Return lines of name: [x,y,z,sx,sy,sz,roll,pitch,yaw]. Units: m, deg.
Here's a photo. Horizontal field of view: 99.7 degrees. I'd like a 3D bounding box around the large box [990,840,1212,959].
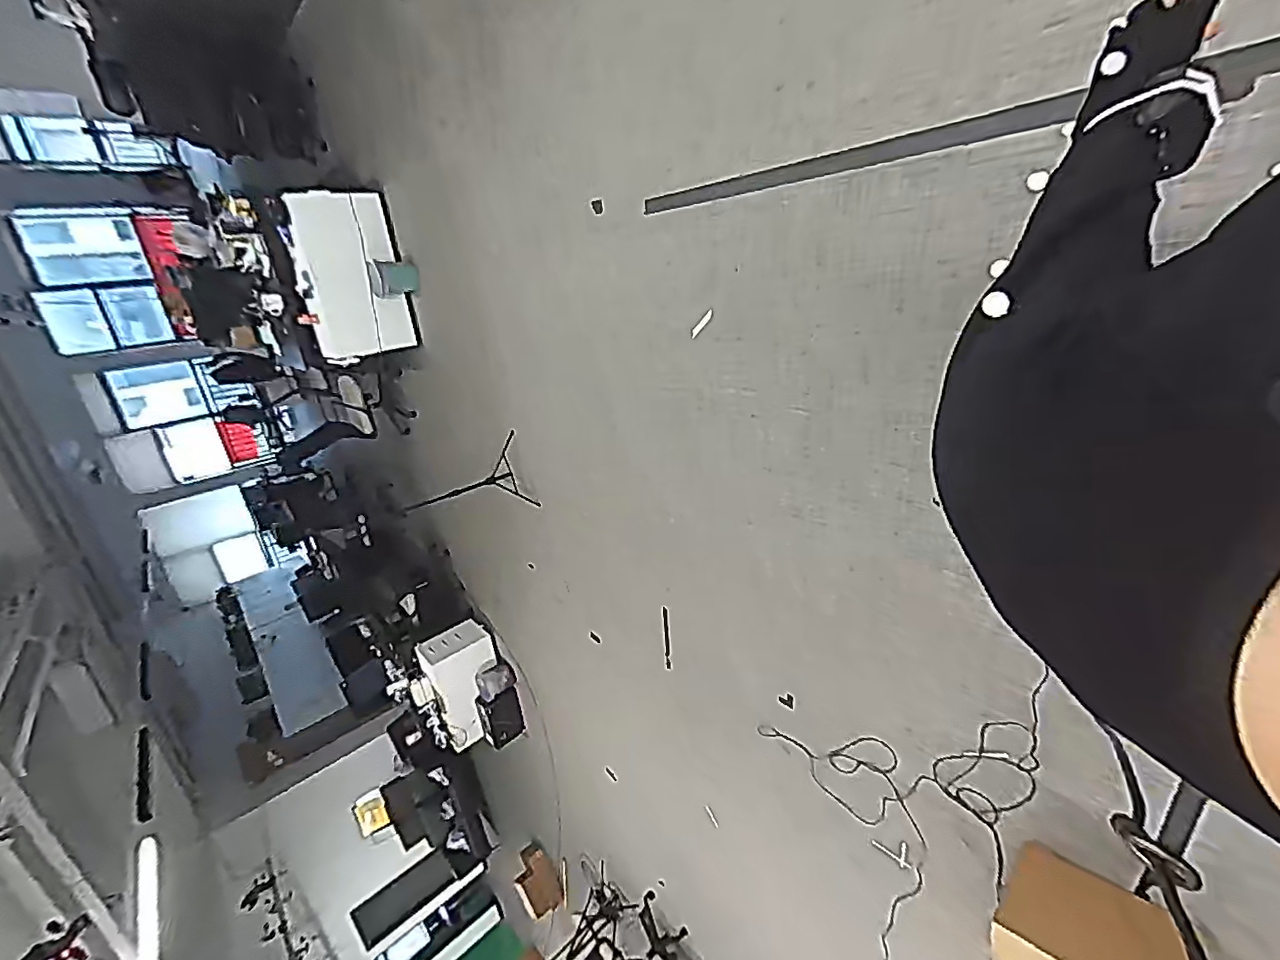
large box: [1.227,1.297,1.453,0.408,0.320,0.320,8,115,50]
